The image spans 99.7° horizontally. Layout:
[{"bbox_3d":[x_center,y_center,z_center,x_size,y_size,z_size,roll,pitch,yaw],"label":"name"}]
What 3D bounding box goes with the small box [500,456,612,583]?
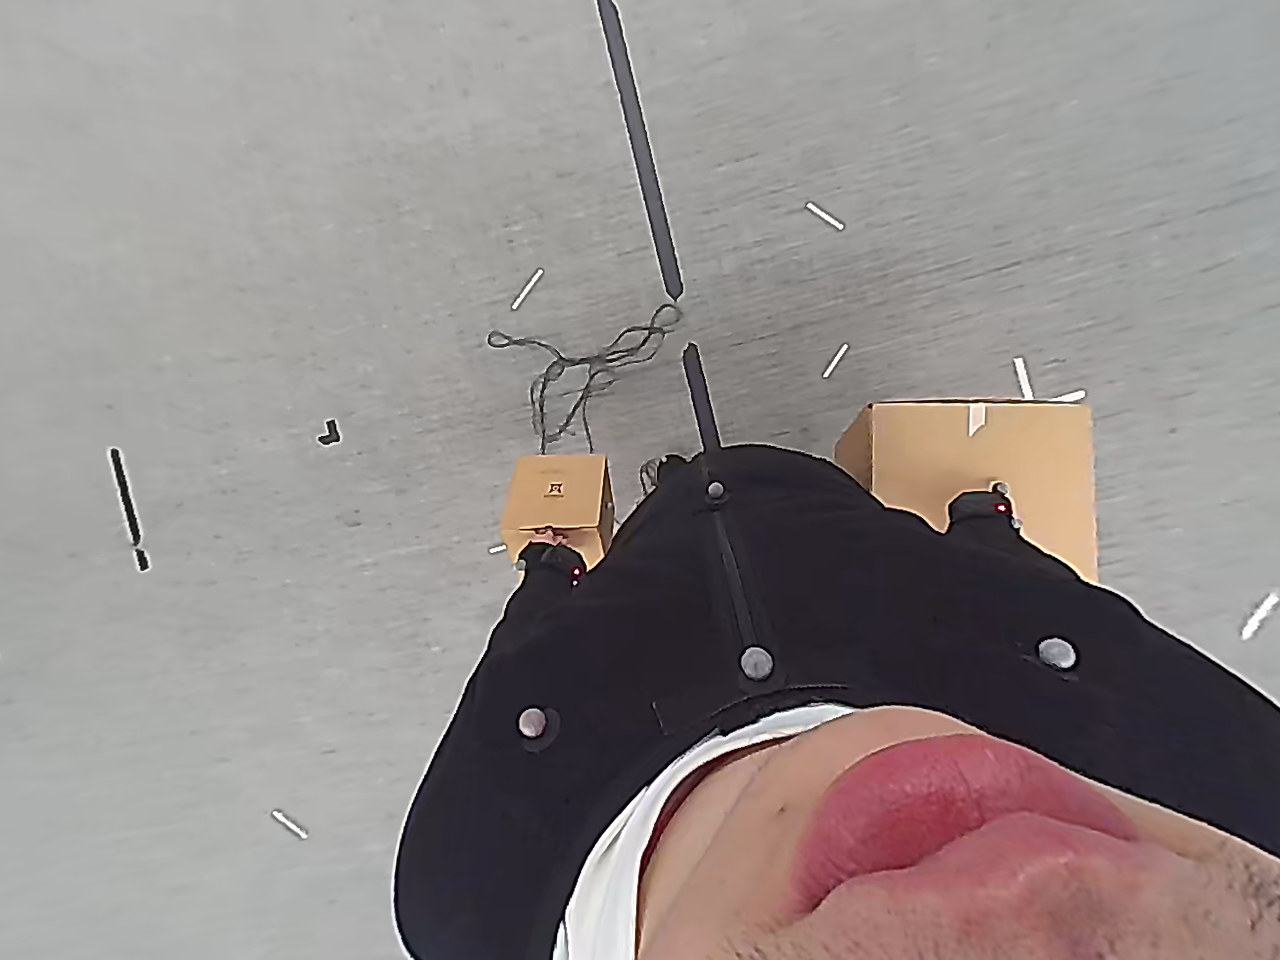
[{"bbox_3d":[-0.143,0.076,0.999,0.168,0.179,0.176,-1,136,3],"label":"small box"}]
